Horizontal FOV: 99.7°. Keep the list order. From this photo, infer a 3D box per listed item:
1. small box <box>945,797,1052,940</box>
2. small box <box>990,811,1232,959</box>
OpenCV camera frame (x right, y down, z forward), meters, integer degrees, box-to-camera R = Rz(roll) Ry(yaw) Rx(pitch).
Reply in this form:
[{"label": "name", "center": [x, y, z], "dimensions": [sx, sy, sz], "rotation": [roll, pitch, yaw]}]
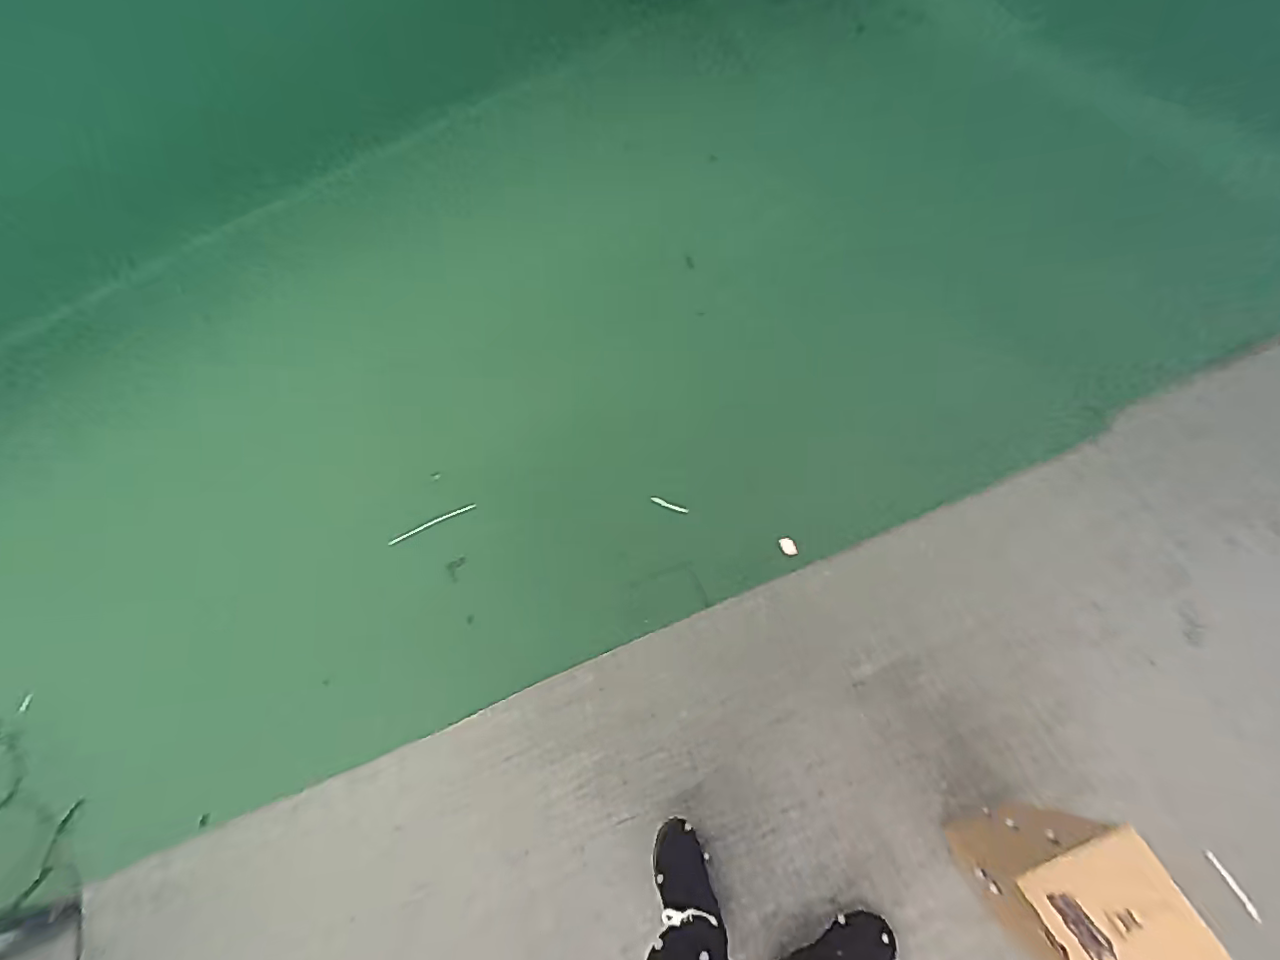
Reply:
[{"label": "small box", "center": [0.731, 0.740, 1.052], "dimensions": [0.168, 0.176, 0.179], "rotation": [-25, 60, 3]}, {"label": "small box", "center": [0.639, 0.597, 0.771], "dimensions": [0.179, 0.176, 0.168], "rotation": [-25, 59, 1]}]
